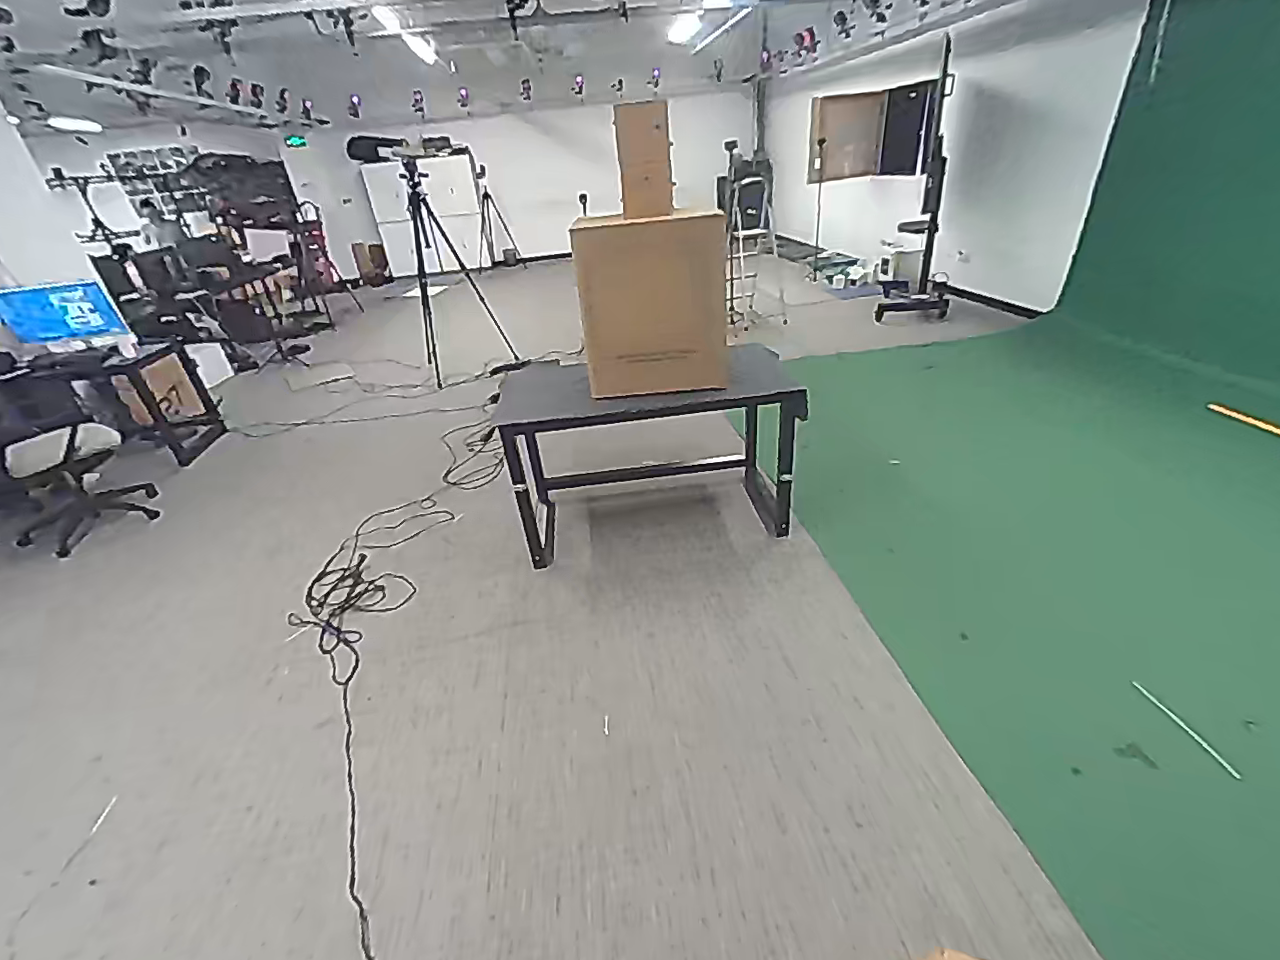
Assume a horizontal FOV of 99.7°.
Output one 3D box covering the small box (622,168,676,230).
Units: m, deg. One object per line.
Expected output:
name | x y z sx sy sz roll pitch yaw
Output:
small box | 0.035 -0.986 1.894 0.179 0.176 0.168 -4 33 3
